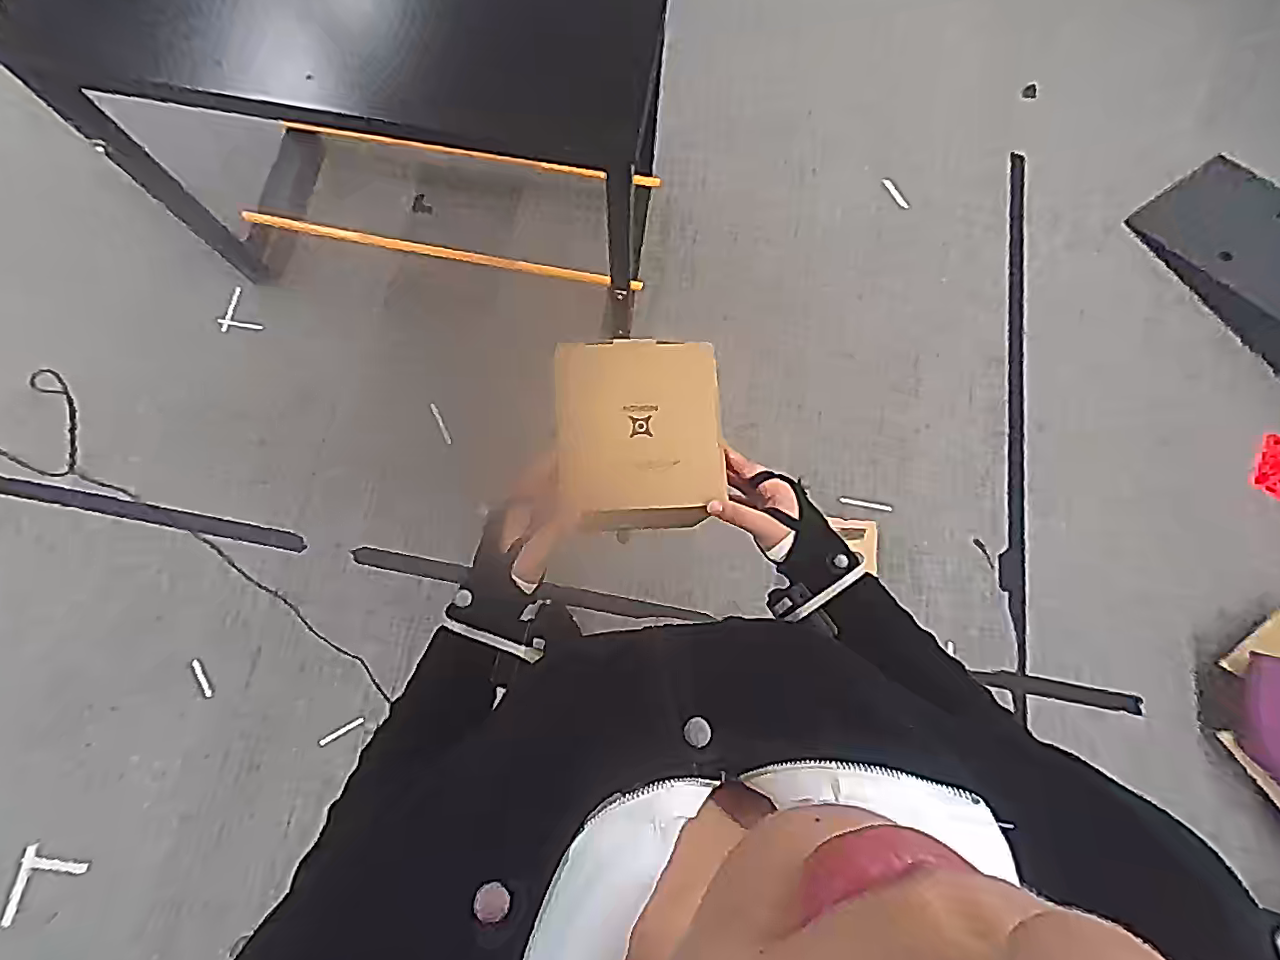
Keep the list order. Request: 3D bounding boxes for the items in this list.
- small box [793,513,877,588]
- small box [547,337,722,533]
[{"bbox_3d":[0.522,0.195,1.463,0.168,0.176,0.179,7,78,0],"label":"small box"},{"bbox_3d":[-0.016,-0.042,0.611,0.168,0.176,0.179,-4,78,-6],"label":"small box"}]
